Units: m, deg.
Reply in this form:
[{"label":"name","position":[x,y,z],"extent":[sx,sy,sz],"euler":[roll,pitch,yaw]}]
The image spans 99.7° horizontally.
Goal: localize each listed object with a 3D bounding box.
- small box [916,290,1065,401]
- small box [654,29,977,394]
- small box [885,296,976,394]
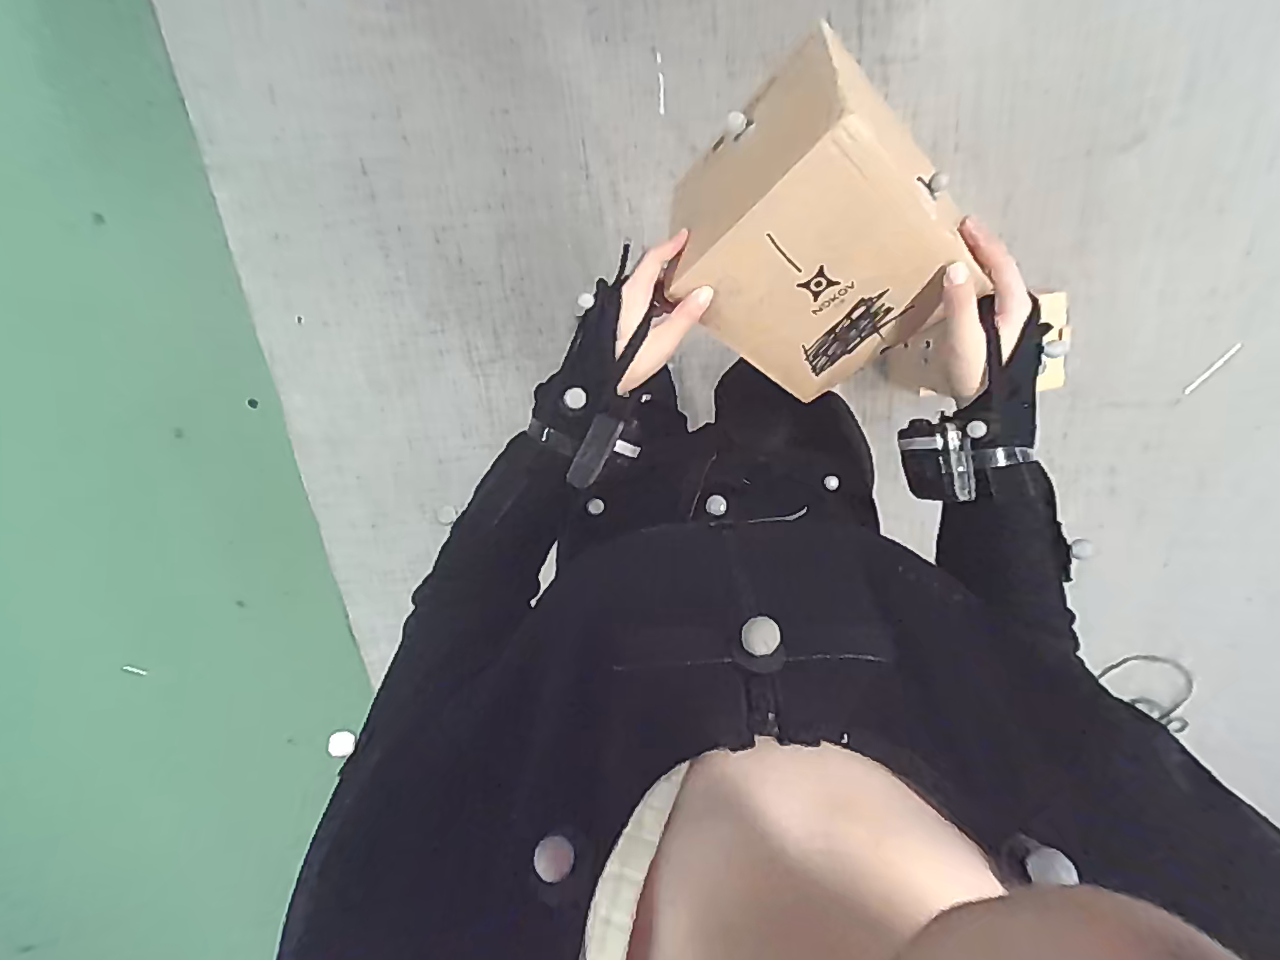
[{"label":"small box","position":[0.644,-0.255,1.011],"extent":[0.179,0.176,0.168],"euler":[-10,107,5]},{"label":"small box","position":[0.132,-0.210,0.443],"extent":[0.179,0.176,0.168],"euler":[28,139,-28]},{"label":"small box","position":[0.643,-0.295,1.170],"extent":[0.168,0.176,0.179],"euler":[-10,107,5]}]
